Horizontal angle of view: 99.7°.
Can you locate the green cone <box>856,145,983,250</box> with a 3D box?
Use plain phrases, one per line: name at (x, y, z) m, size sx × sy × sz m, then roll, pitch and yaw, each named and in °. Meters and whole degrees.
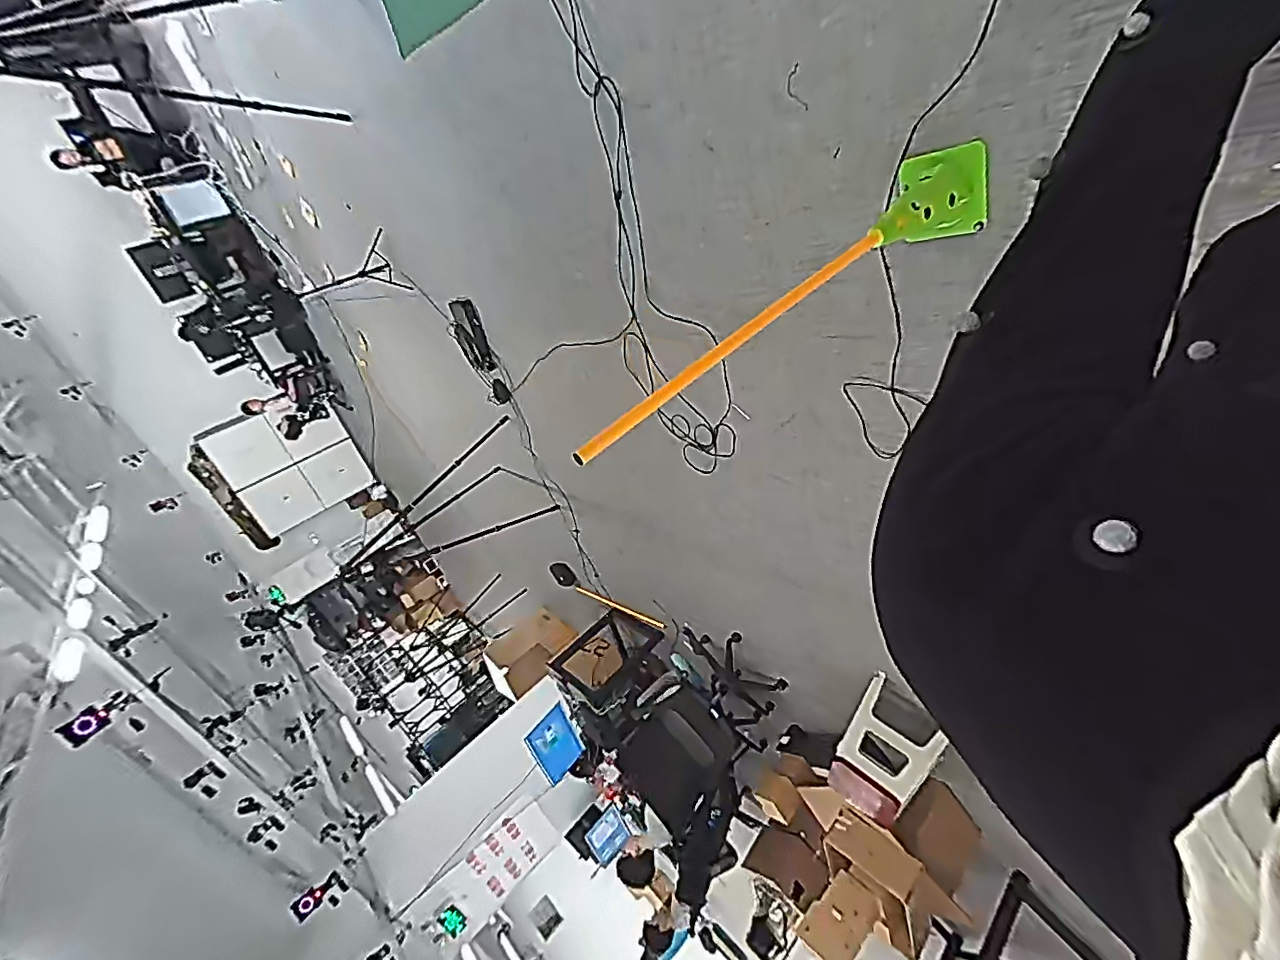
green cone at (0.624, -0.621, 1.270) m, size 0.202 × 0.368 × 0.200 m, roll 15°, pitch 133°, yaw 49°
